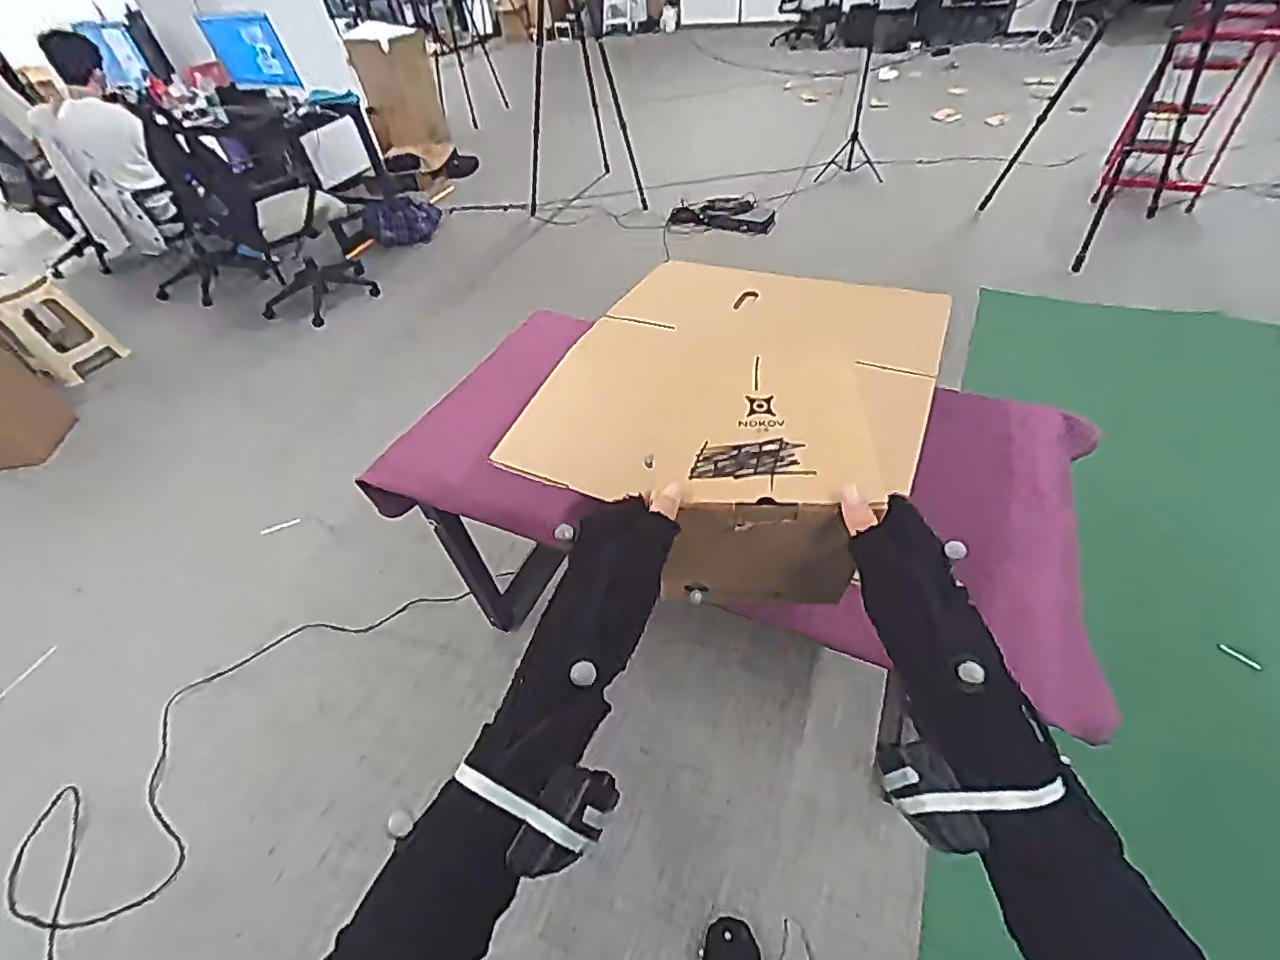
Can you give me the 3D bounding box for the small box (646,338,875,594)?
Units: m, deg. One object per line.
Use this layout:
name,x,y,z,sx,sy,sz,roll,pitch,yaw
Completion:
small box,0.099,-0.006,0.499,0.168,0.176,0.179,0,53,6
